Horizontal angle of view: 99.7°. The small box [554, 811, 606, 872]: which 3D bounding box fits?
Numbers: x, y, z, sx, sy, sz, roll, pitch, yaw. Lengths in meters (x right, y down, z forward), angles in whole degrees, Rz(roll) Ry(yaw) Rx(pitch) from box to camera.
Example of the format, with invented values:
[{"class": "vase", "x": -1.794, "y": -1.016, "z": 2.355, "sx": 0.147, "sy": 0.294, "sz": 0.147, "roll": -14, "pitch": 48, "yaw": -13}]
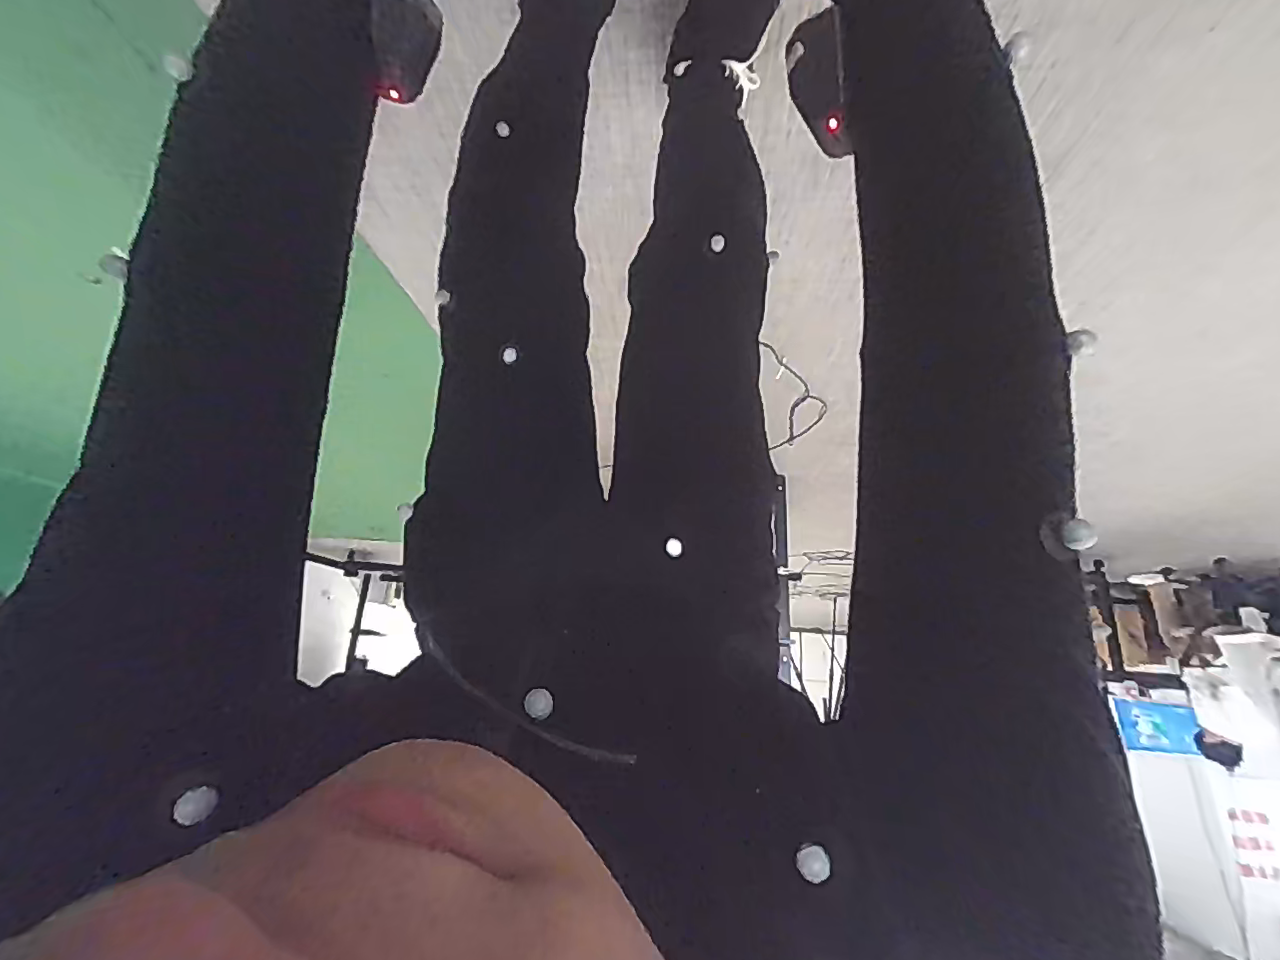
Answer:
[{"class": "small box", "x": -0.239, "y": 1.451, "z": 2.181, "sx": 0.179, "sy": 0.176, "sz": 0.168, "roll": 1, "pitch": 162, "yaw": 5}]
